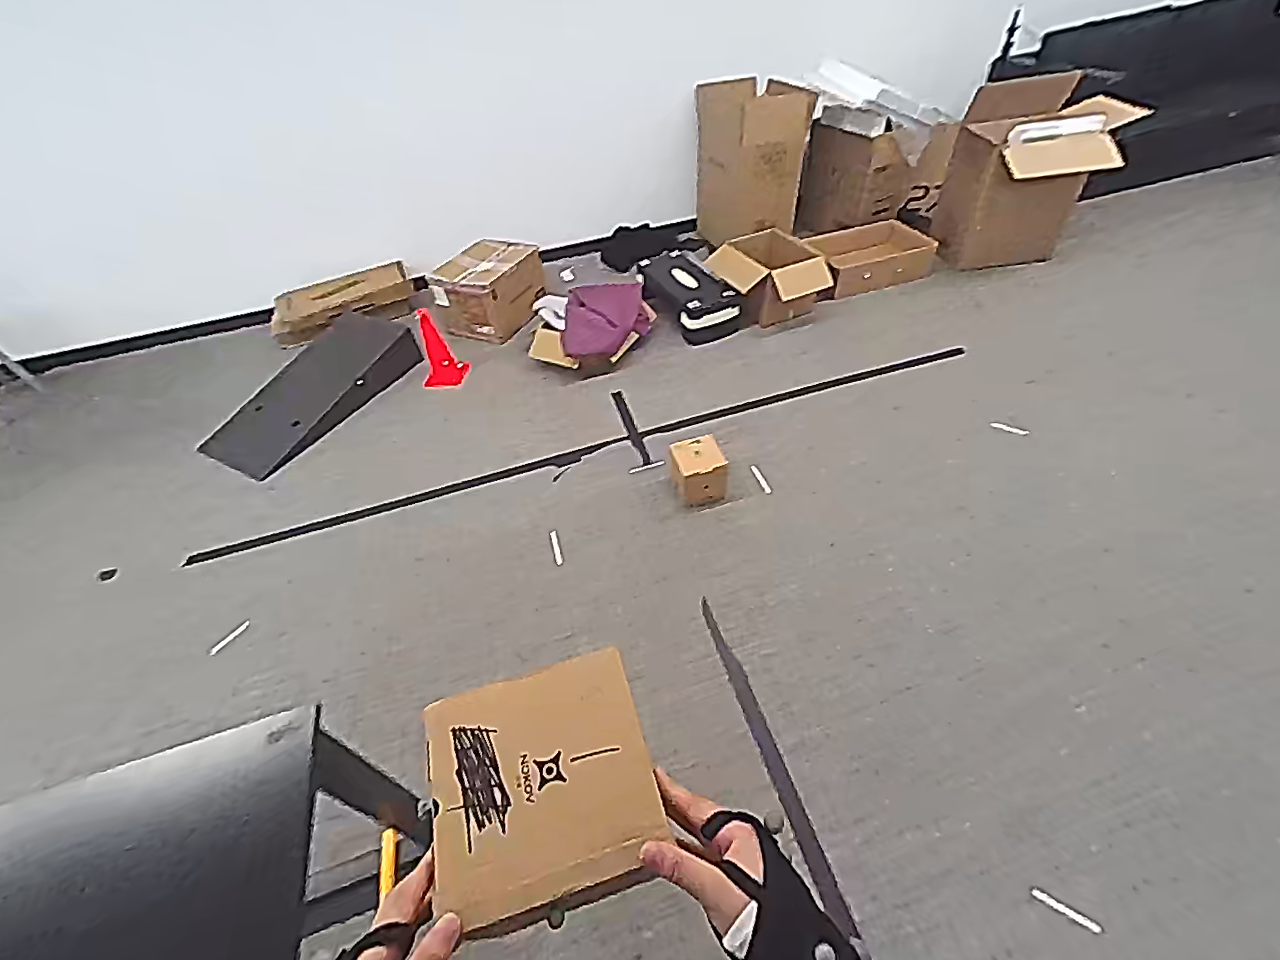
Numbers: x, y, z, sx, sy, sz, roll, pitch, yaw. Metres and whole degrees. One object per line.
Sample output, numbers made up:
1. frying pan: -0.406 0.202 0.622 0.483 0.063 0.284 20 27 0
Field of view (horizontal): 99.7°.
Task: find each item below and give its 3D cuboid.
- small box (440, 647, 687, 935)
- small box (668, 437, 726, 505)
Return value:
1. small box: -0.063 0.282 0.490 0.179 0.176 0.168 -15 52 -8
2. small box: 0.209 -0.025 1.987 0.168 0.176 0.179 -14 47 -7
